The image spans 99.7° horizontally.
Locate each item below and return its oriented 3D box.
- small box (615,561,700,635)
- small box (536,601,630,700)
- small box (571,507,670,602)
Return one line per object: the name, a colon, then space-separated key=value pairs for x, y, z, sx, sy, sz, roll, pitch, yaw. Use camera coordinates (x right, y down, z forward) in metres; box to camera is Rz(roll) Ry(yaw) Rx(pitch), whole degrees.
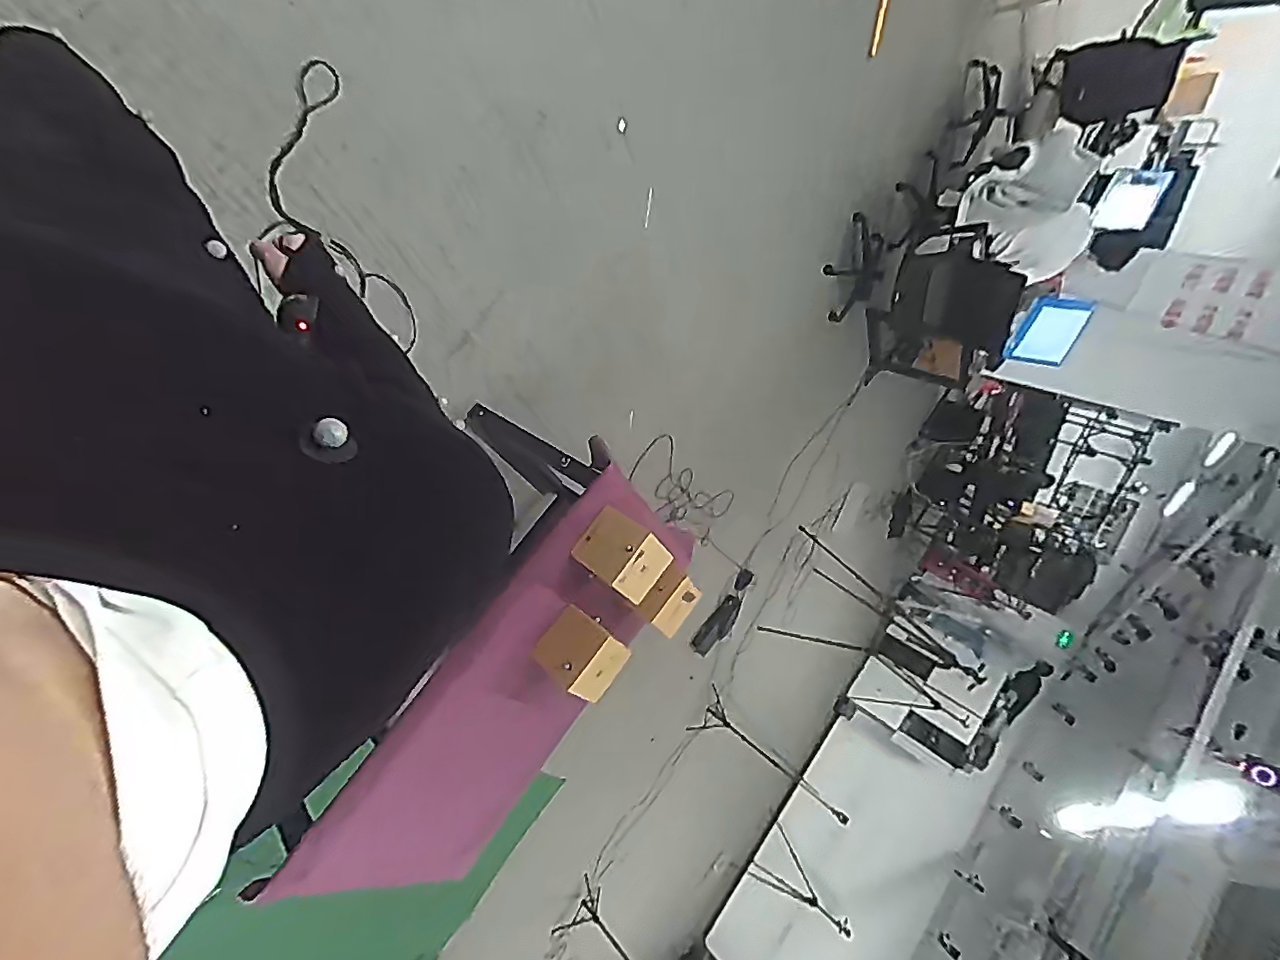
small box: x=0.053 y=0.345 z=1.685 sx=0.179 sy=0.176 sz=0.168 roll=-51 pitch=142 yaw=-12
small box: x=-0.164 y=0.474 z=1.509 sx=0.179 sy=0.176 sz=0.168 roll=-50 pitch=143 yaw=-13
small box: x=-0.051 y=0.197 z=1.458 sx=0.168 sy=0.176 sz=0.179 roll=-53 pitch=145 yaw=-11
